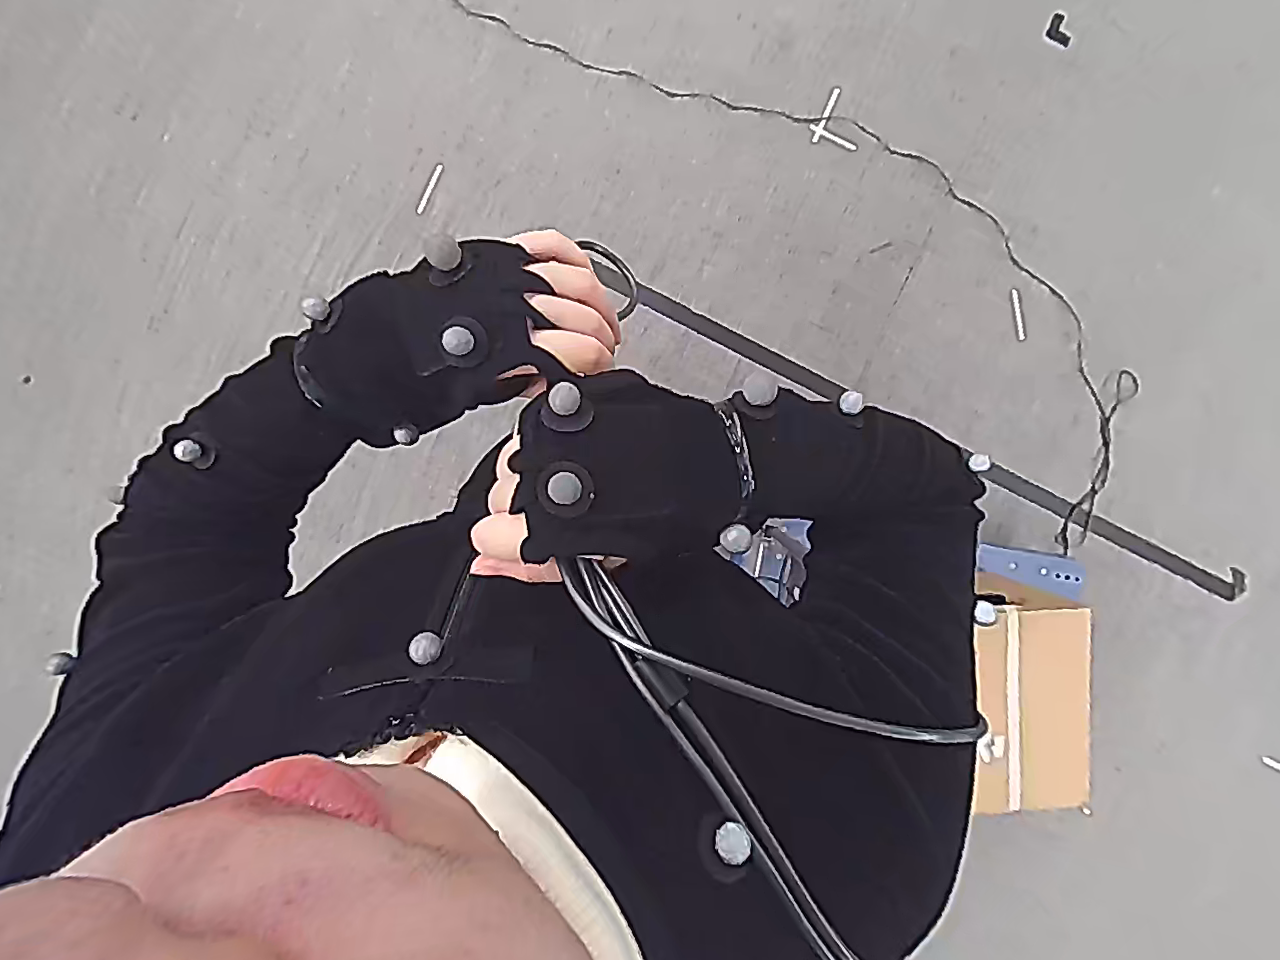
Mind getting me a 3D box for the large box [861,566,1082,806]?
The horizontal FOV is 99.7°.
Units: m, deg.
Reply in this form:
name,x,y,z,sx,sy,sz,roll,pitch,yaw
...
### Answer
name,x,y,z,sx,sy,sz,roll,pitch,yaw
large box,0.709,0.428,1.203,0.320,0.320,0.408,-2,94,0
